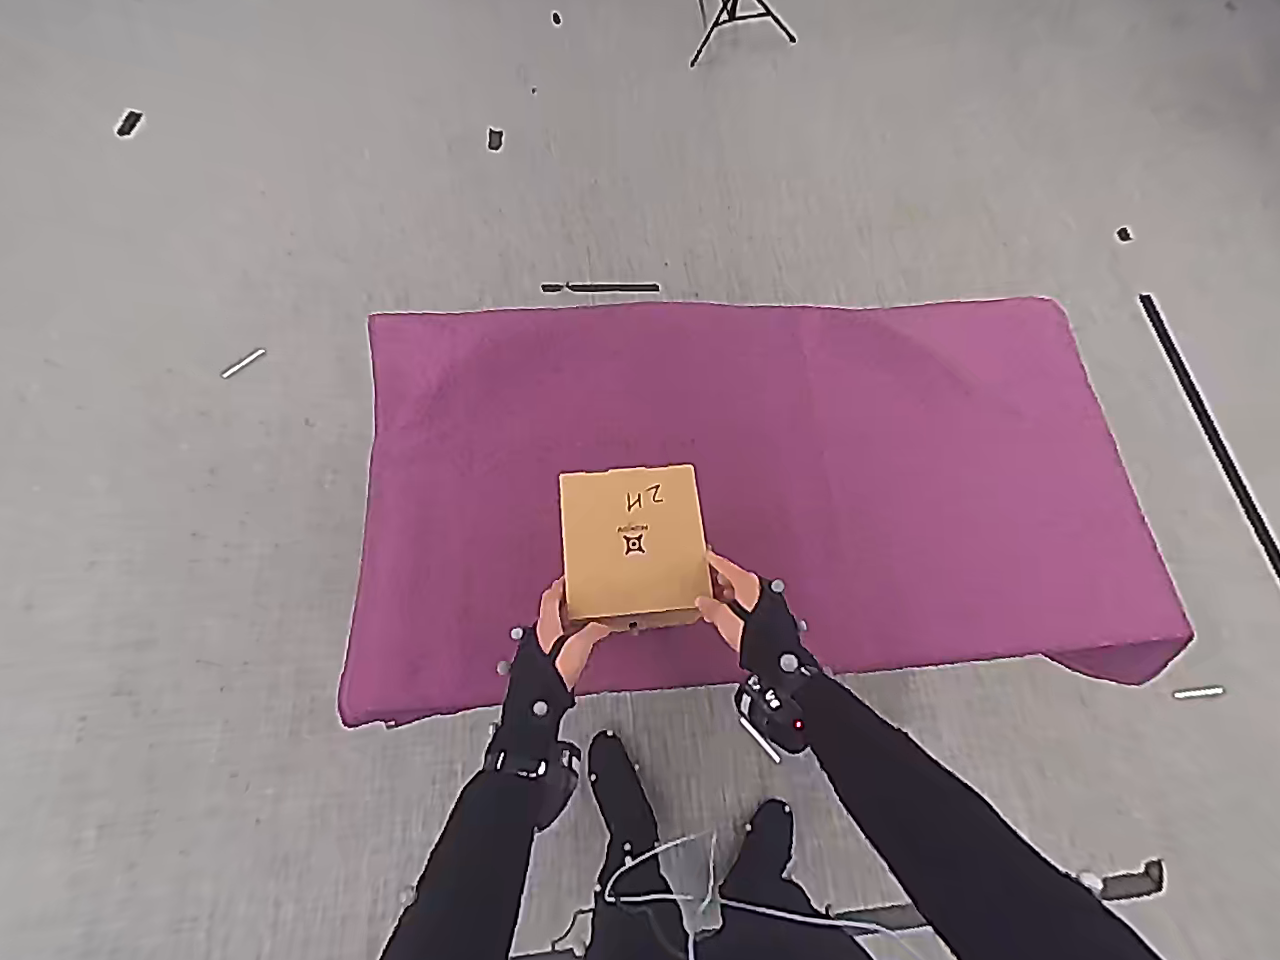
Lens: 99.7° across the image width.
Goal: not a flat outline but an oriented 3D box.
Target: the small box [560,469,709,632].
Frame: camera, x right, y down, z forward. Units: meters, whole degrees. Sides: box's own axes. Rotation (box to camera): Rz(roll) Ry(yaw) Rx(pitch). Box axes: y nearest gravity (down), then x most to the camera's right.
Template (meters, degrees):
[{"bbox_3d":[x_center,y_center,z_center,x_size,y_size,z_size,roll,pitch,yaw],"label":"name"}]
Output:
[{"bbox_3d":[-0.014,0.100,0.702,0.168,0.176,0.179,-4,68,-6],"label":"small box"}]
